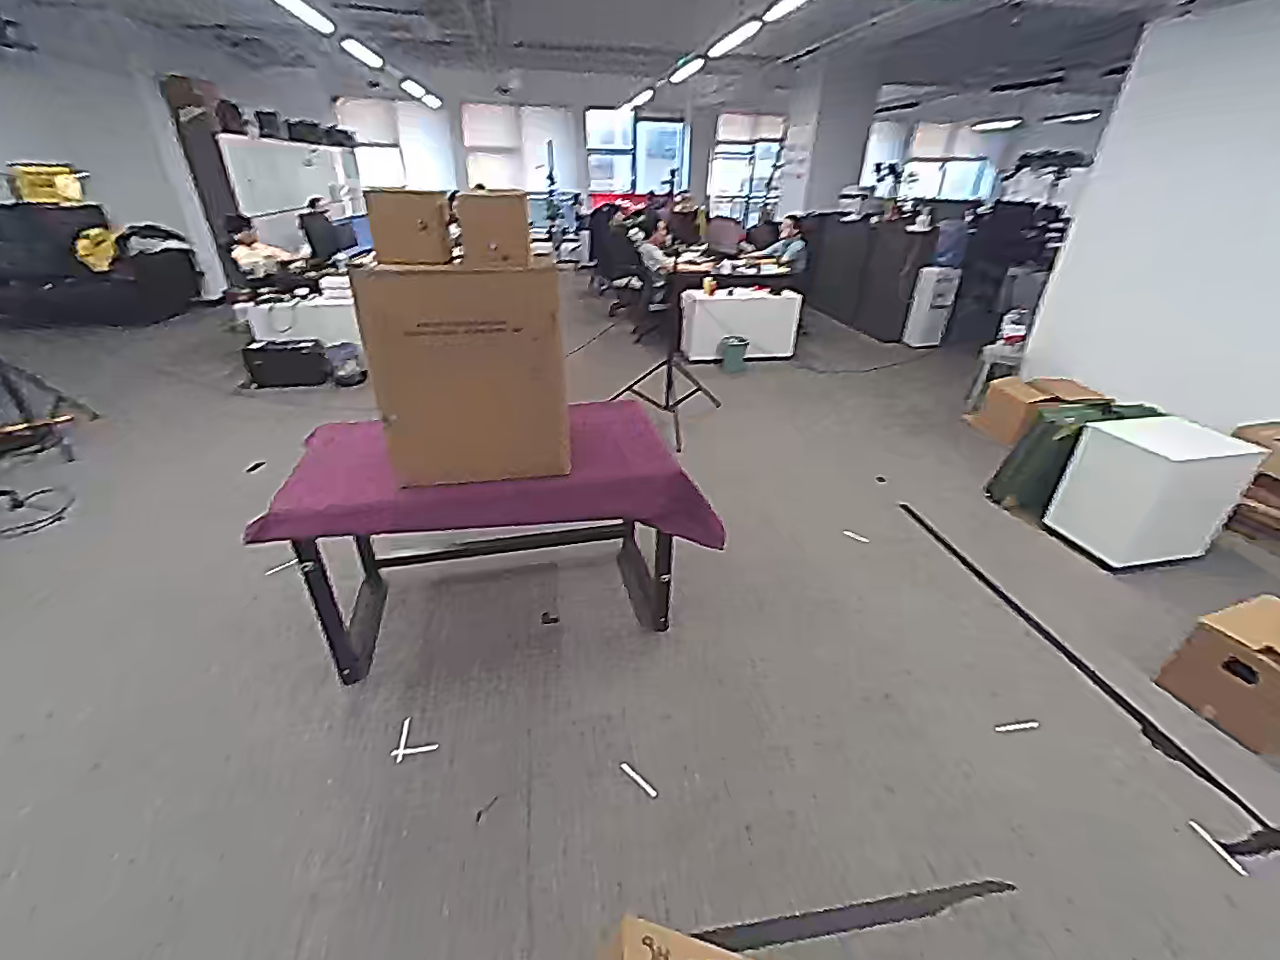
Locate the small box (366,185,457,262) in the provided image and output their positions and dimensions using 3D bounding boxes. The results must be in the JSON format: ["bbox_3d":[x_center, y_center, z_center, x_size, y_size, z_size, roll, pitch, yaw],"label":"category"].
[{"bbox_3d":[-0.587,-0.673,1.417,0.179,0.176,0.168,-3,29,-8],"label":"small box"}]

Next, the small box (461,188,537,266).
[{"bbox_3d":[-0.361,-0.663,1.412,0.168,0.176,0.179,-4,31,-7],"label":"small box"}]

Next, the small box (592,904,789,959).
[{"bbox_3d":[0.029,0.463,0.374,0.168,0.176,0.179,24,6,-6],"label":"small box"}]
